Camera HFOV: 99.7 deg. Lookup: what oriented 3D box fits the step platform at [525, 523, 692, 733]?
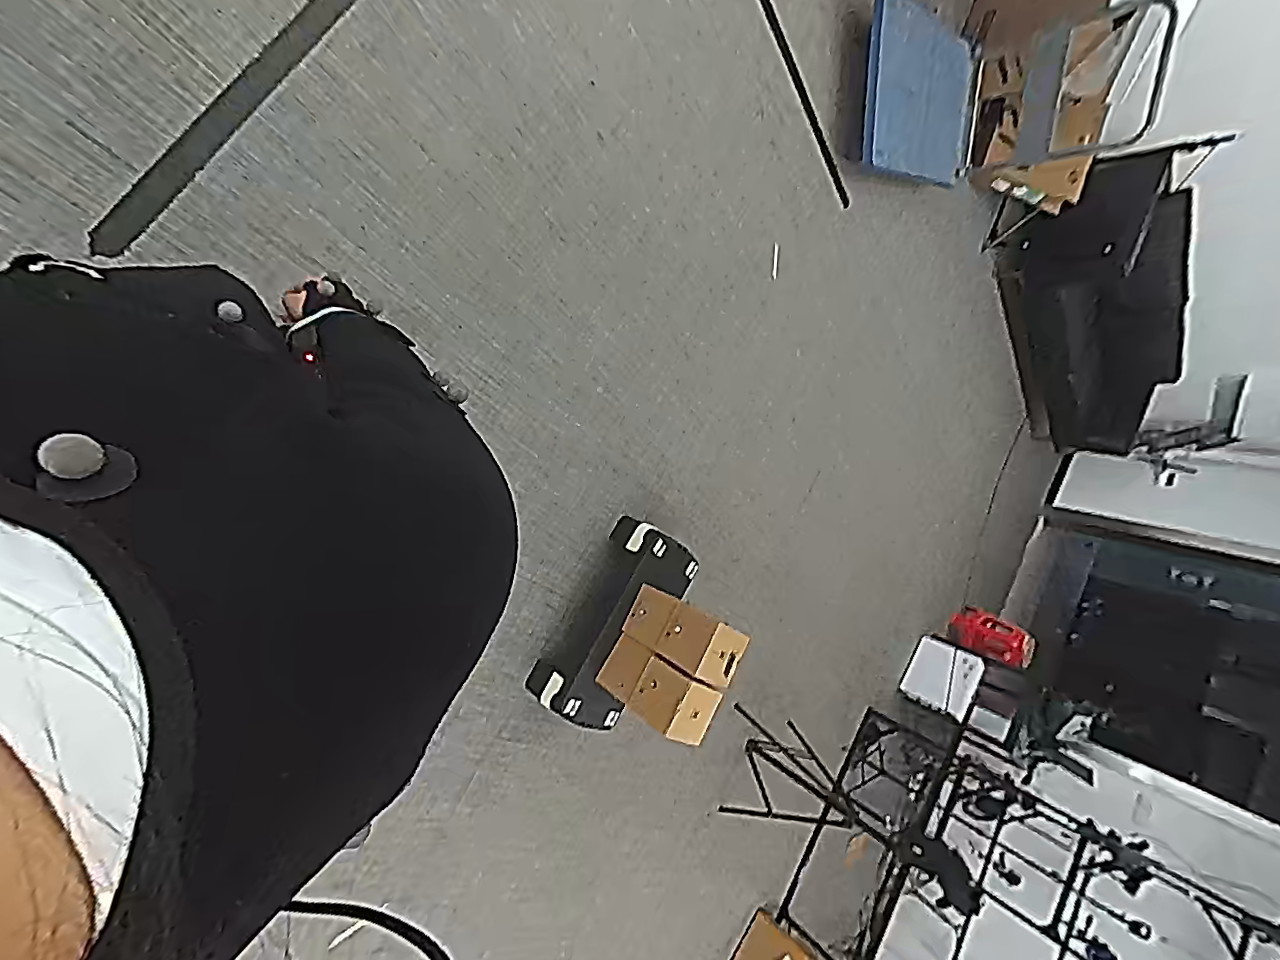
[{"bbox_3d":[-0.088,0.503,1.855,0.286,0.204,0.684,40,74,-42],"label":"step platform"}]
